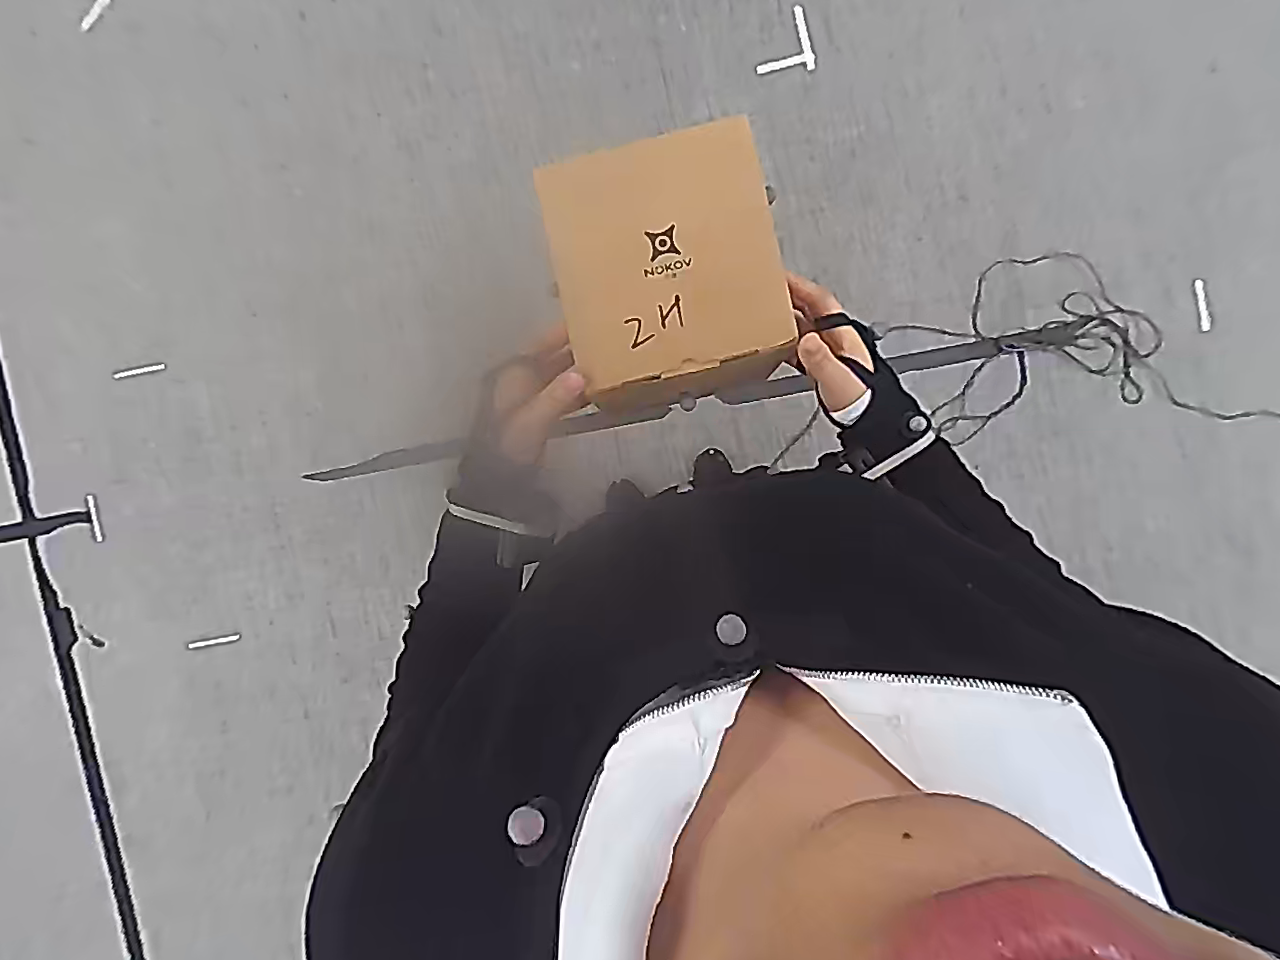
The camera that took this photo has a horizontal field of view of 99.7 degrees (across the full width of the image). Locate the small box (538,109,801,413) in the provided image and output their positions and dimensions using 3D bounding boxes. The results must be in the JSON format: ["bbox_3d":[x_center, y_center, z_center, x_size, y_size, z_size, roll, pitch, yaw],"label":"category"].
[{"bbox_3d":[0.024,-0.169,0.475,0.168,0.176,0.179,-13,89,4],"label":"small box"}]
